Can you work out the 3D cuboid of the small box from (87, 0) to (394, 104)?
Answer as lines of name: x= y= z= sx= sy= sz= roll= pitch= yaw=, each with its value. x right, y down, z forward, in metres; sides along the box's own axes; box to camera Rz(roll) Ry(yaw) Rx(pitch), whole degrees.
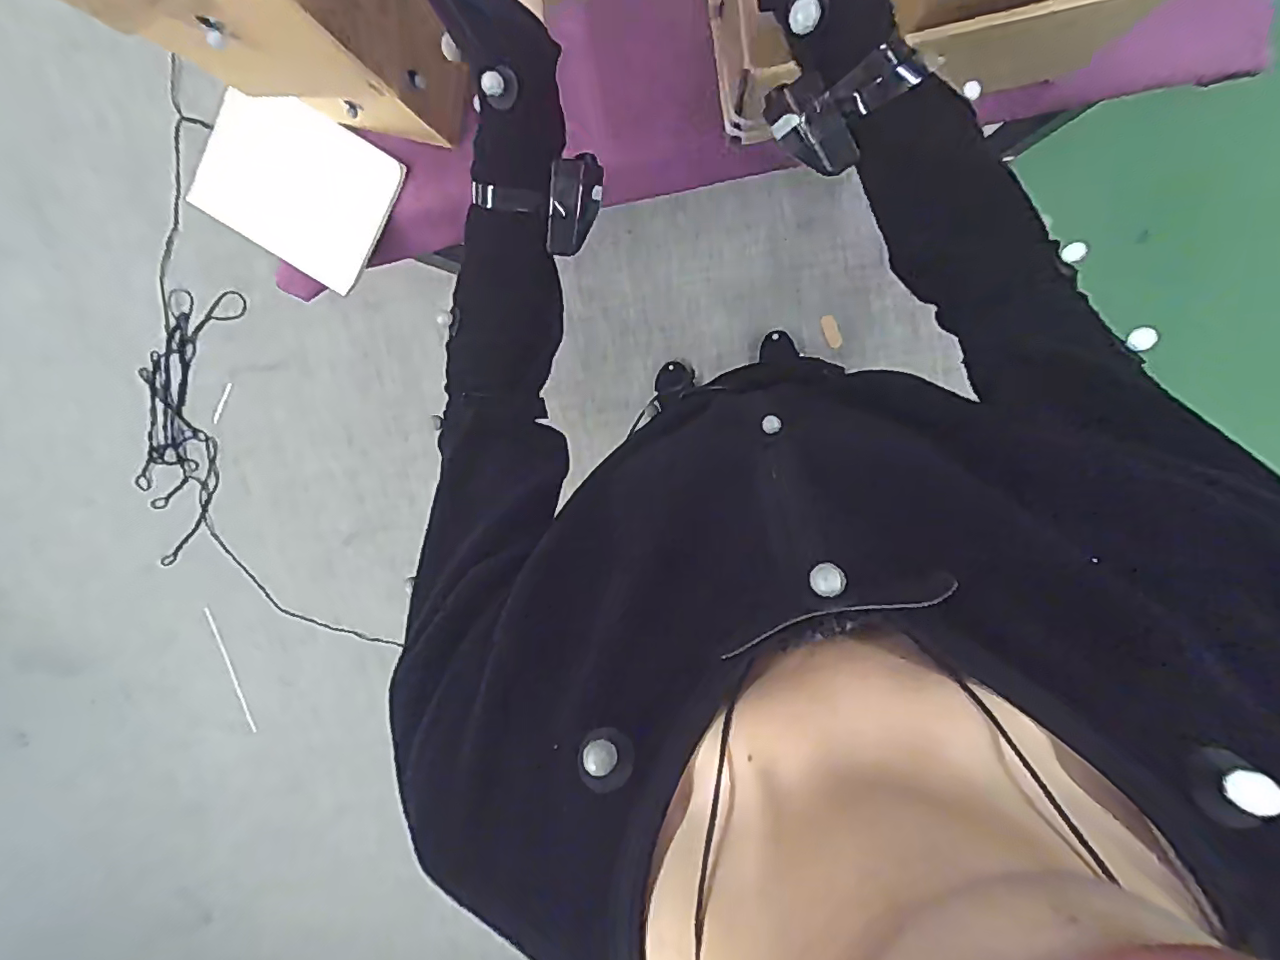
small box: x=-0.337 y=-0.462 z=0.477 sx=0.179 sy=0.176 sz=0.168 roll=5 pitch=102 yaw=5
